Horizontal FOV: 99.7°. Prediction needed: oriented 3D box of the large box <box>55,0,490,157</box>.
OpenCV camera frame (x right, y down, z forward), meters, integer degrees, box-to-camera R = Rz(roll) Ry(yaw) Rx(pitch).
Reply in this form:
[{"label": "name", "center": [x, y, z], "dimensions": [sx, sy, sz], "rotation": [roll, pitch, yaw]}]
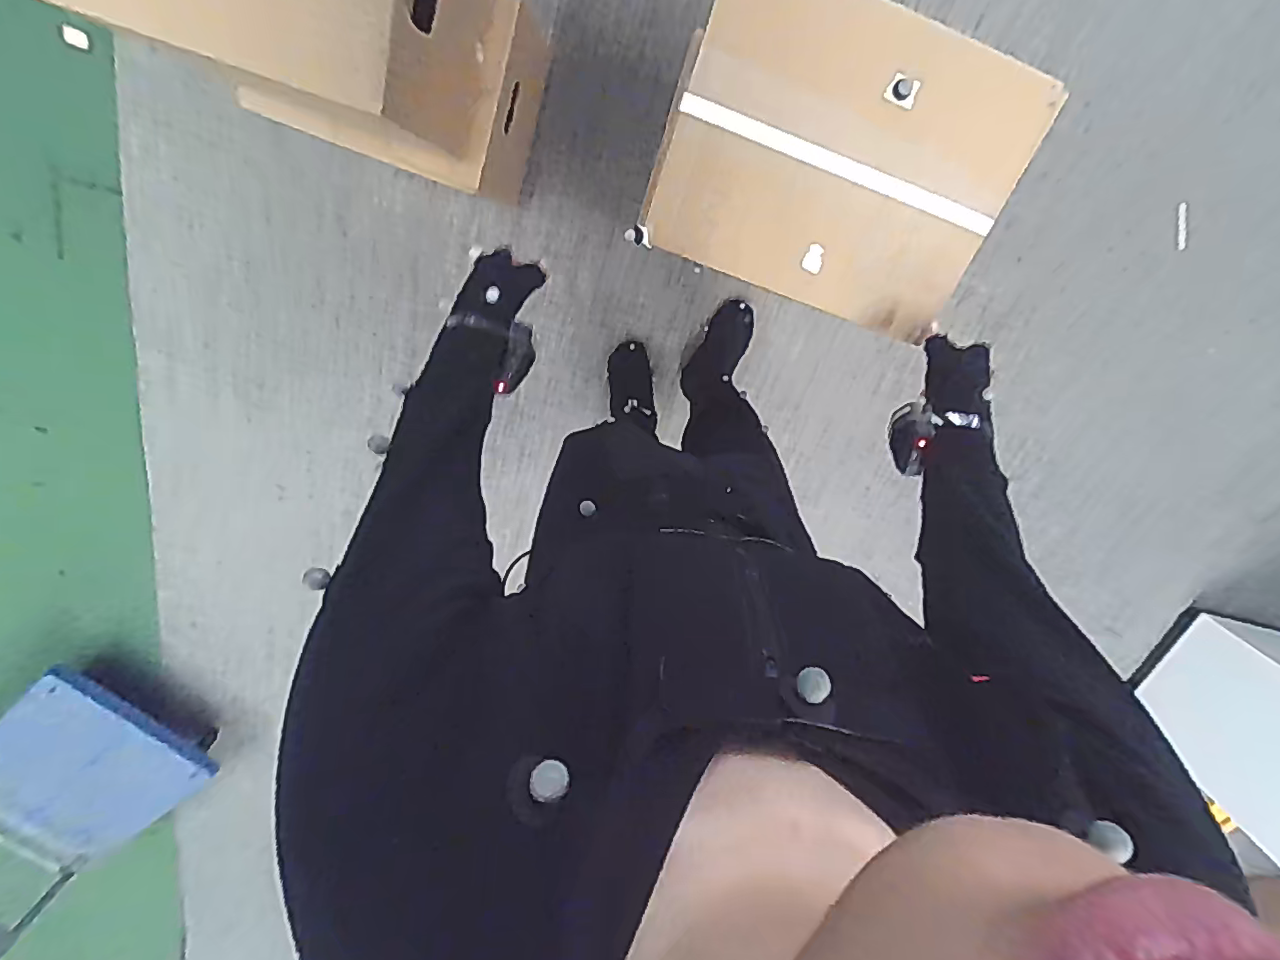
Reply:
[{"label": "large box", "center": [-0.440, -0.674, 0.696], "dimensions": [0.408, 0.320, 0.320], "rotation": [16, 111, -7]}]
